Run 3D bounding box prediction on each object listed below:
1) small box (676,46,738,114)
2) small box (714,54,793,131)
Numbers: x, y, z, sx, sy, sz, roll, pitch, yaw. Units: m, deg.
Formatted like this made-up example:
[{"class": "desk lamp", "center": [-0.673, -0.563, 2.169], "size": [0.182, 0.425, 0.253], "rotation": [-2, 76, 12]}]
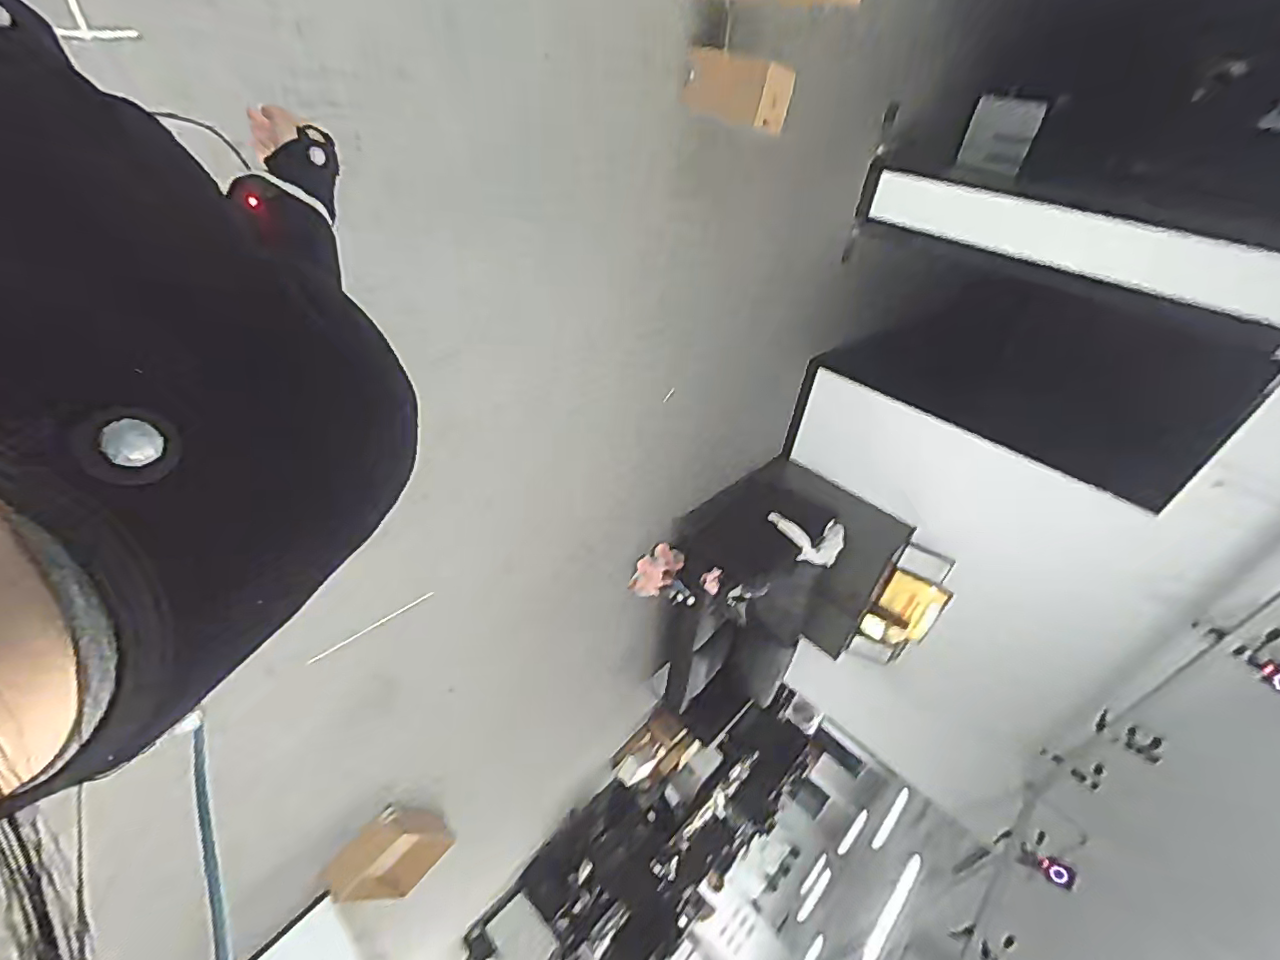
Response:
[{"class": "small box", "center": [0.249, -1.347, 1.828], "size": [0.179, 0.176, 0.168], "rotation": [-21, 134, -42]}, {"class": "small box", "center": [0.361, -1.254, 1.750], "size": [0.168, 0.176, 0.179], "rotation": [-21, 134, -42]}]
